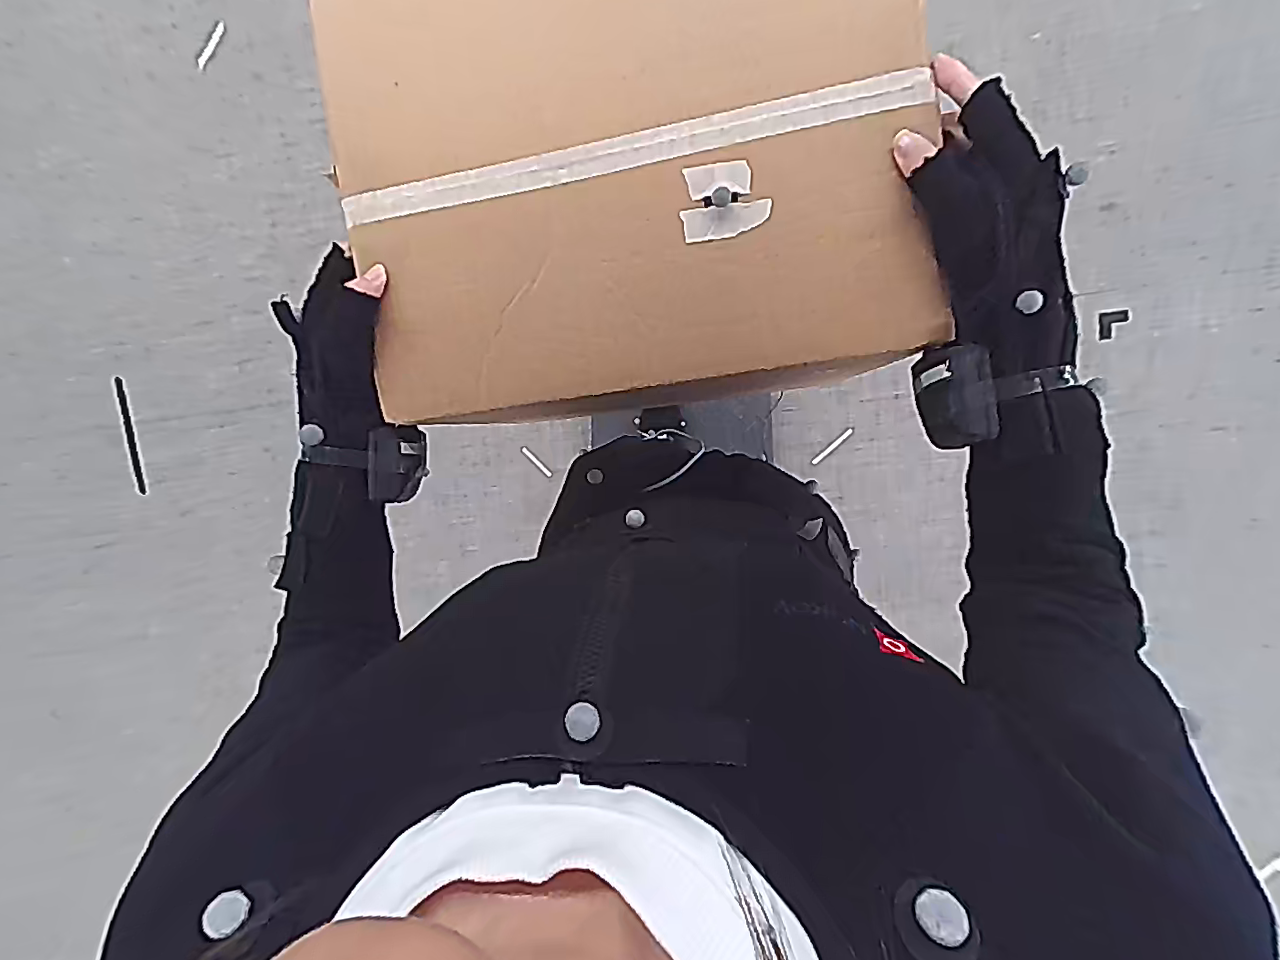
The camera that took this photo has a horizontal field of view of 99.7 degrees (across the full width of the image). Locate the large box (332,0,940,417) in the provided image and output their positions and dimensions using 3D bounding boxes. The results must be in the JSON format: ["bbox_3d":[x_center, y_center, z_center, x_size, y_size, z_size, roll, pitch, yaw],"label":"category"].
[{"bbox_3d":[0.005,-0.245,0.527,0.408,0.320,0.320,-7,96,8],"label":"large box"}]
